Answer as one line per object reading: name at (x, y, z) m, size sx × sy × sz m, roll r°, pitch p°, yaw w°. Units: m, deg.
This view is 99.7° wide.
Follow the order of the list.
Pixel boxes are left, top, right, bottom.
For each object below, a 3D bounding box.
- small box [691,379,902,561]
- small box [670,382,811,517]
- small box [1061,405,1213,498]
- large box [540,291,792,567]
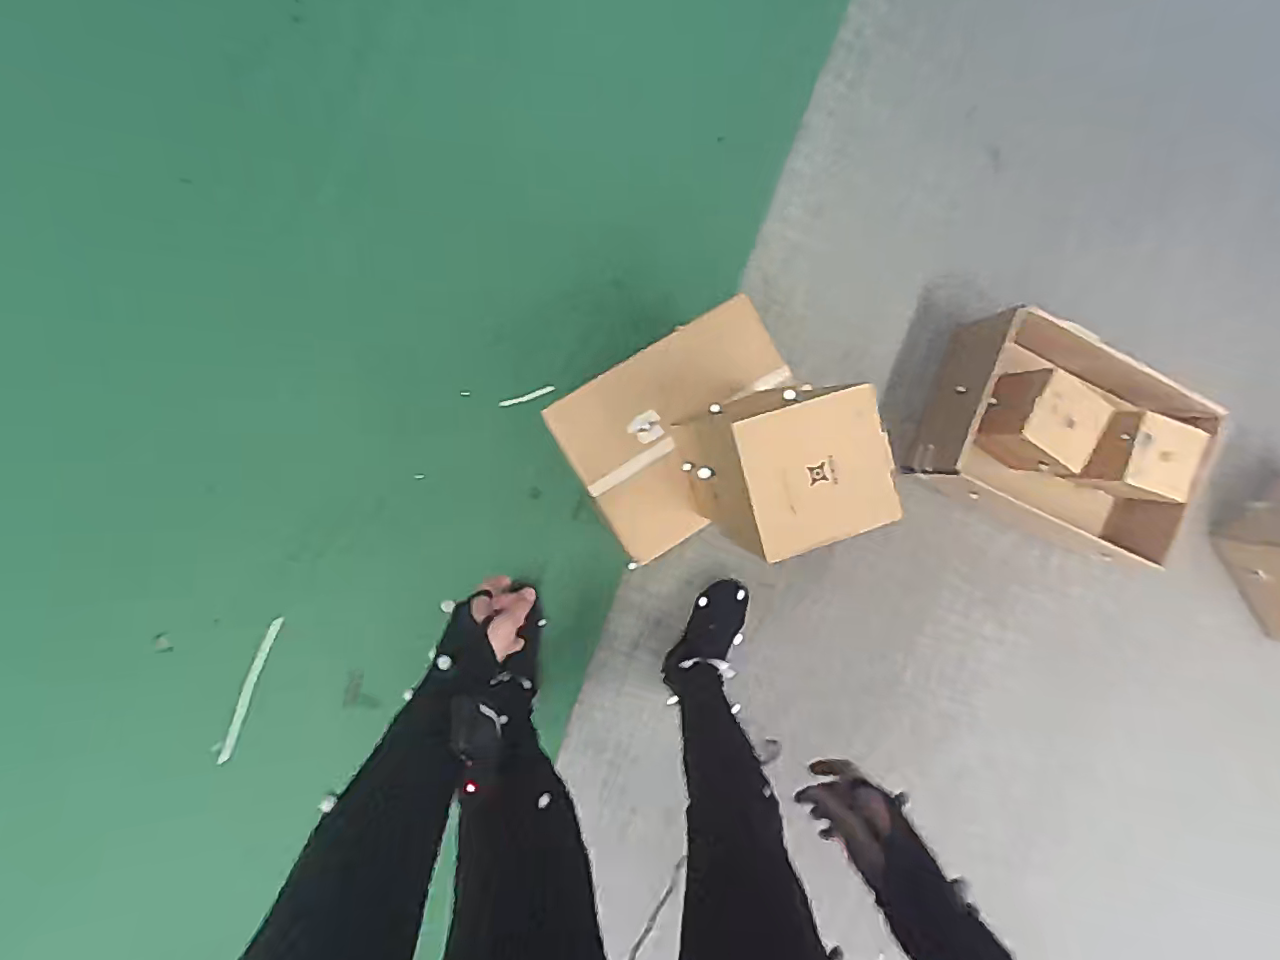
small box at (0.182, -0.021, 0.667) m, size 0.179 × 0.176 × 0.168 m, roll -17°, pitch 98°, yaw -8°
small box at (0.166, -0.044, 0.829) m, size 0.179 × 0.176 × 0.168 m, roll -21°, pitch 99°, yaw -7°
small box at (1.140, -0.068, 1.250) m, size 0.179 × 0.176 × 0.168 m, roll 17°, pitch 91°, yaw -10°
large box at (0.057, -0.098, 1.053) m, size 0.408 × 0.320 × 0.320 m, roll -32°, pitch 98°, yaw -5°
